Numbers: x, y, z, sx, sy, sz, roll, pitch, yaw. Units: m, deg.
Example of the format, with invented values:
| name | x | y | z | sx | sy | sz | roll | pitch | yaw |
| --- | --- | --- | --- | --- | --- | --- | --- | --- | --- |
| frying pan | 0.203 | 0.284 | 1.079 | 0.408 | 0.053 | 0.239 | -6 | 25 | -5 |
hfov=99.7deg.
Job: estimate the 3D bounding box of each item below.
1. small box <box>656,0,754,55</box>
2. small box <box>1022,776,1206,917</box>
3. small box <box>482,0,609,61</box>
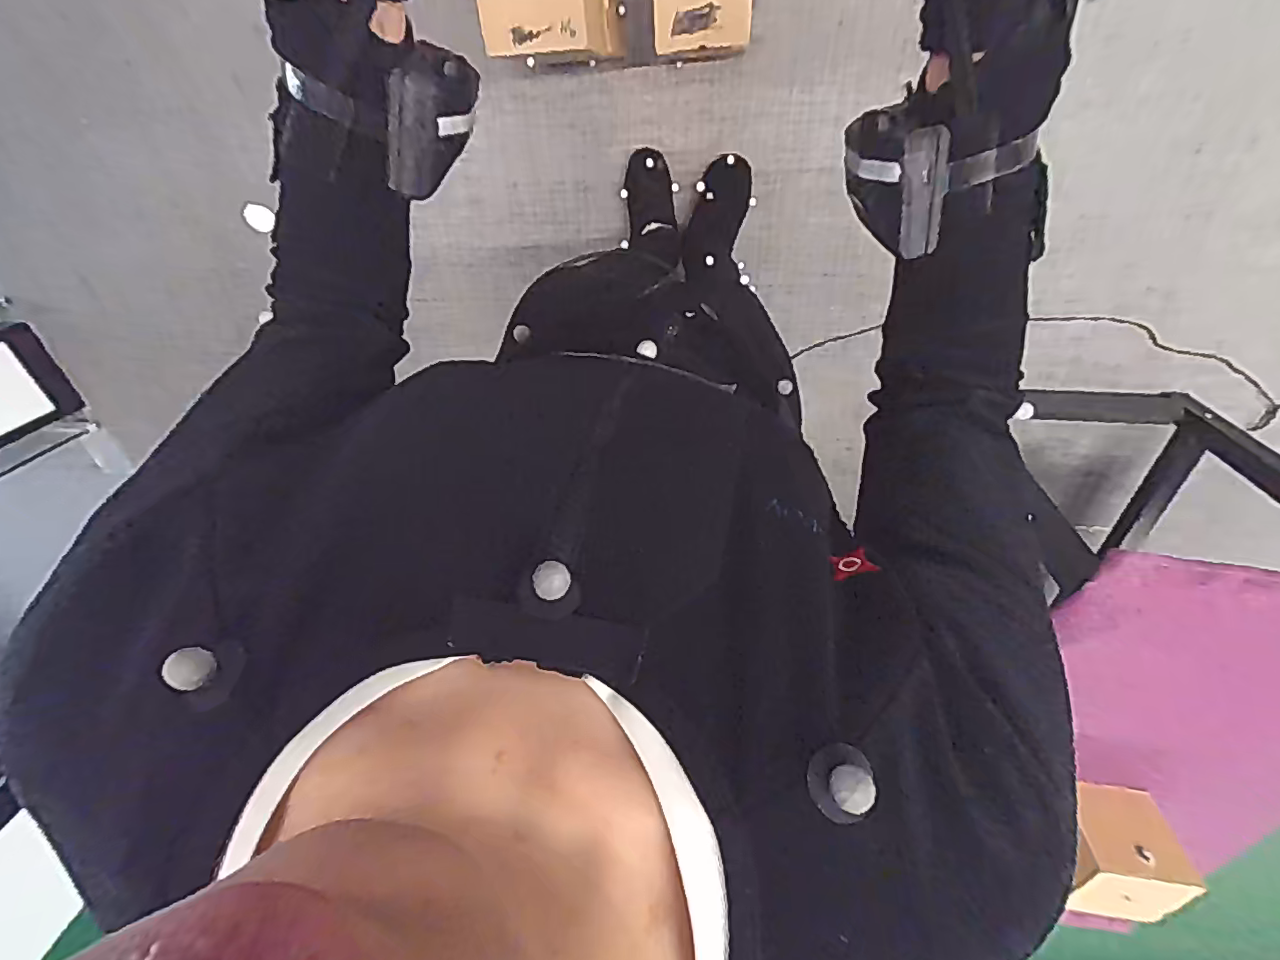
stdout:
| name | x | y | z | sx | sy | sz | roll | pitch | yaw |
| --- | --- | --- | --- | --- | --- | --- | --- | --- | --- |
| small box | 0.118 | -0.866 | 0.951 | 0.168 | 0.176 | 0.179 | 1 | 125 | 8 |
| small box | 0.892 | 0.700 | 1.041 | 0.179 | 0.176 | 0.168 | 7 | 125 | 5 |
| small box | -0.147 | -0.784 | 0.853 | 0.168 | 0.176 | 0.179 | 2 | 125 | 8 |
